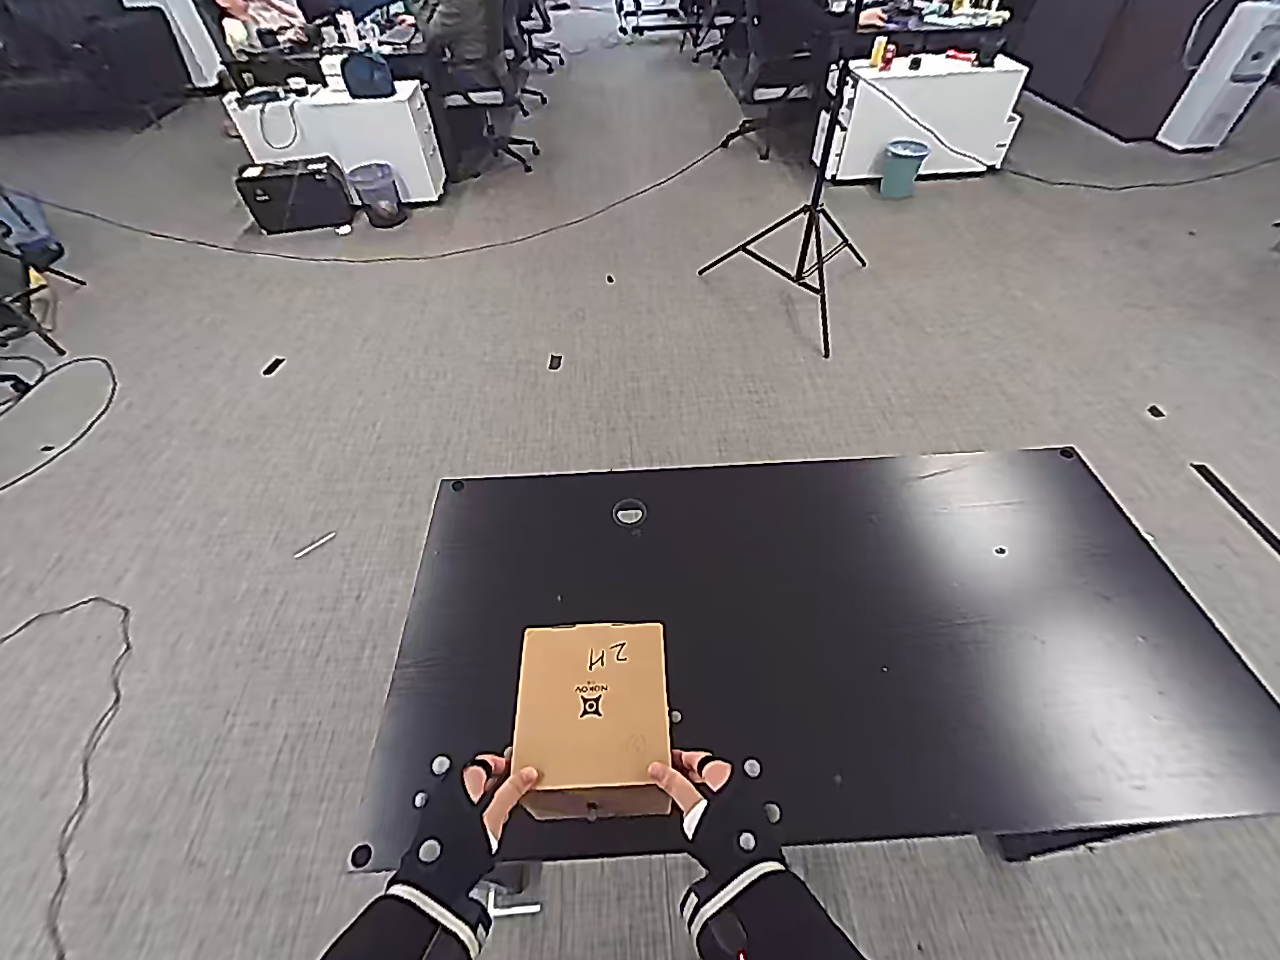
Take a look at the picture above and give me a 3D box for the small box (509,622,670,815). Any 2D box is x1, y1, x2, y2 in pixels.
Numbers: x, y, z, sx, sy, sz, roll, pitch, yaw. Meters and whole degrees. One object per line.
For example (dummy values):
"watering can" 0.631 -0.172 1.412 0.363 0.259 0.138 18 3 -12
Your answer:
"small box" -0.050 0.292 0.654 0.168 0.176 0.179 -3 49 0
